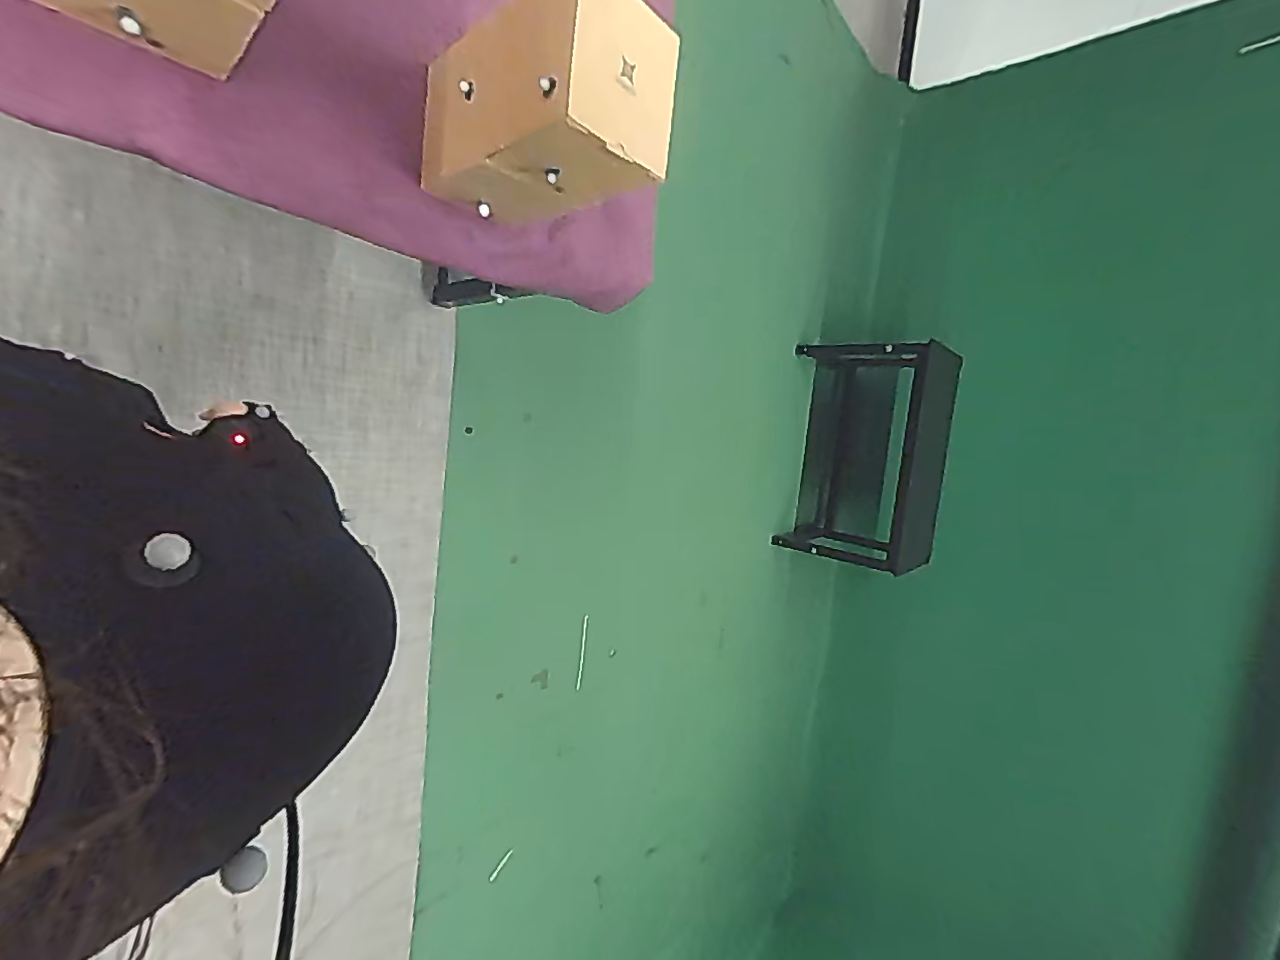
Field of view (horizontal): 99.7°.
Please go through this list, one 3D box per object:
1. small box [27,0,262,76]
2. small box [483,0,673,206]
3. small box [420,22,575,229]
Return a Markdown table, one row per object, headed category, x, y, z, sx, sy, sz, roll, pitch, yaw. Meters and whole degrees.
| category | x | y | z | sx | sy | sz | roll | pitch | yaw |
| --- | --- | --- | --- | --- | --- | --- | --- | --- | --- |
| small box | -0.459 | -0.522 | 0.486 | 0.168 | 0.176 | 0.179 | -2 | 99 | -48 |
| small box | -0.080 | -0.475 | 0.679 | 0.168 | 0.176 | 0.179 | 0 | 98 | -48 |
| small box | -0.202 | -0.492 | 0.785 | 0.168 | 0.176 | 0.179 | 0 | 98 | -48 |
